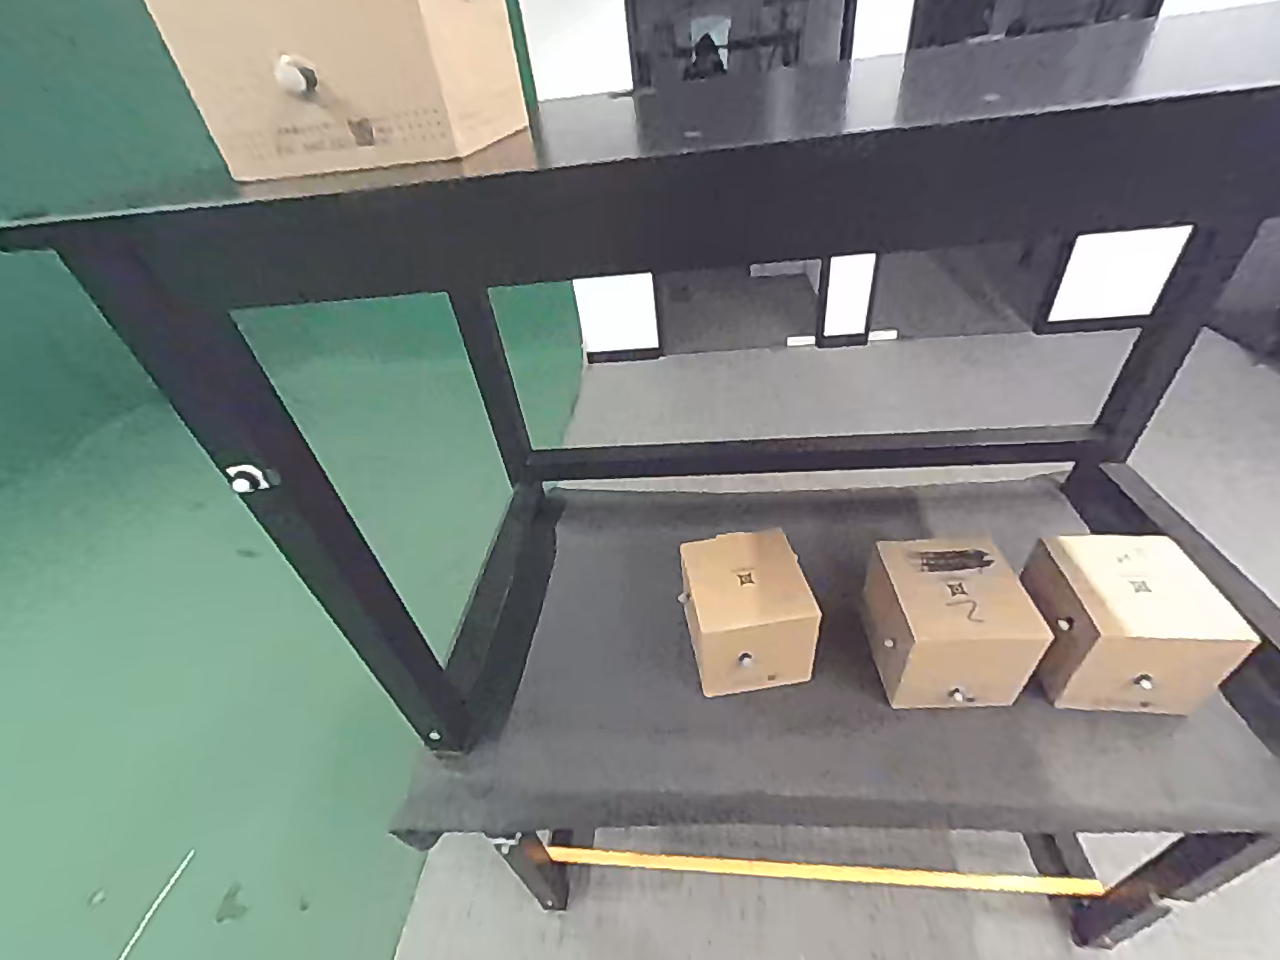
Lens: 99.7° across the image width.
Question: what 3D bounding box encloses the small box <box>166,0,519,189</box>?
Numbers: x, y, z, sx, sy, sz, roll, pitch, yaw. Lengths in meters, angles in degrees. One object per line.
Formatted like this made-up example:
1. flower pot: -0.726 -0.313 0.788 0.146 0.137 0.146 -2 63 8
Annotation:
1. small box: -0.196 -0.316 0.381 0.168 0.176 0.179 -2 39 8

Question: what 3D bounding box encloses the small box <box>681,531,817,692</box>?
1. small box: 0.162 0.208 0.840 0.168 0.176 0.179 -9 38 -1
